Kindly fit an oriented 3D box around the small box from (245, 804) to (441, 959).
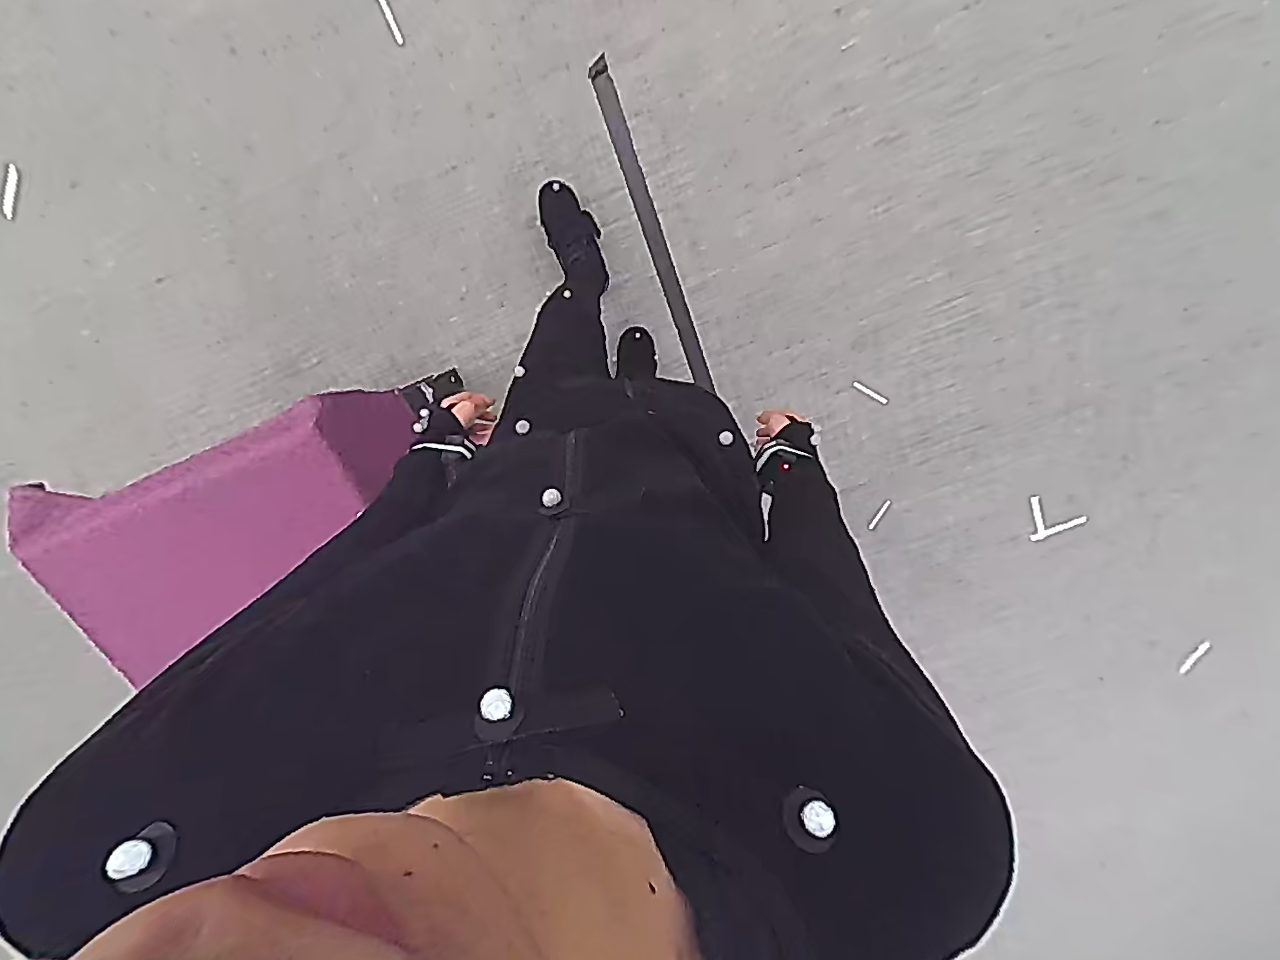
[{"bbox_3d":[-0.452,0.660,0.854,0.179,0.176,0.168,-26,109,9],"label":"small box"}]
